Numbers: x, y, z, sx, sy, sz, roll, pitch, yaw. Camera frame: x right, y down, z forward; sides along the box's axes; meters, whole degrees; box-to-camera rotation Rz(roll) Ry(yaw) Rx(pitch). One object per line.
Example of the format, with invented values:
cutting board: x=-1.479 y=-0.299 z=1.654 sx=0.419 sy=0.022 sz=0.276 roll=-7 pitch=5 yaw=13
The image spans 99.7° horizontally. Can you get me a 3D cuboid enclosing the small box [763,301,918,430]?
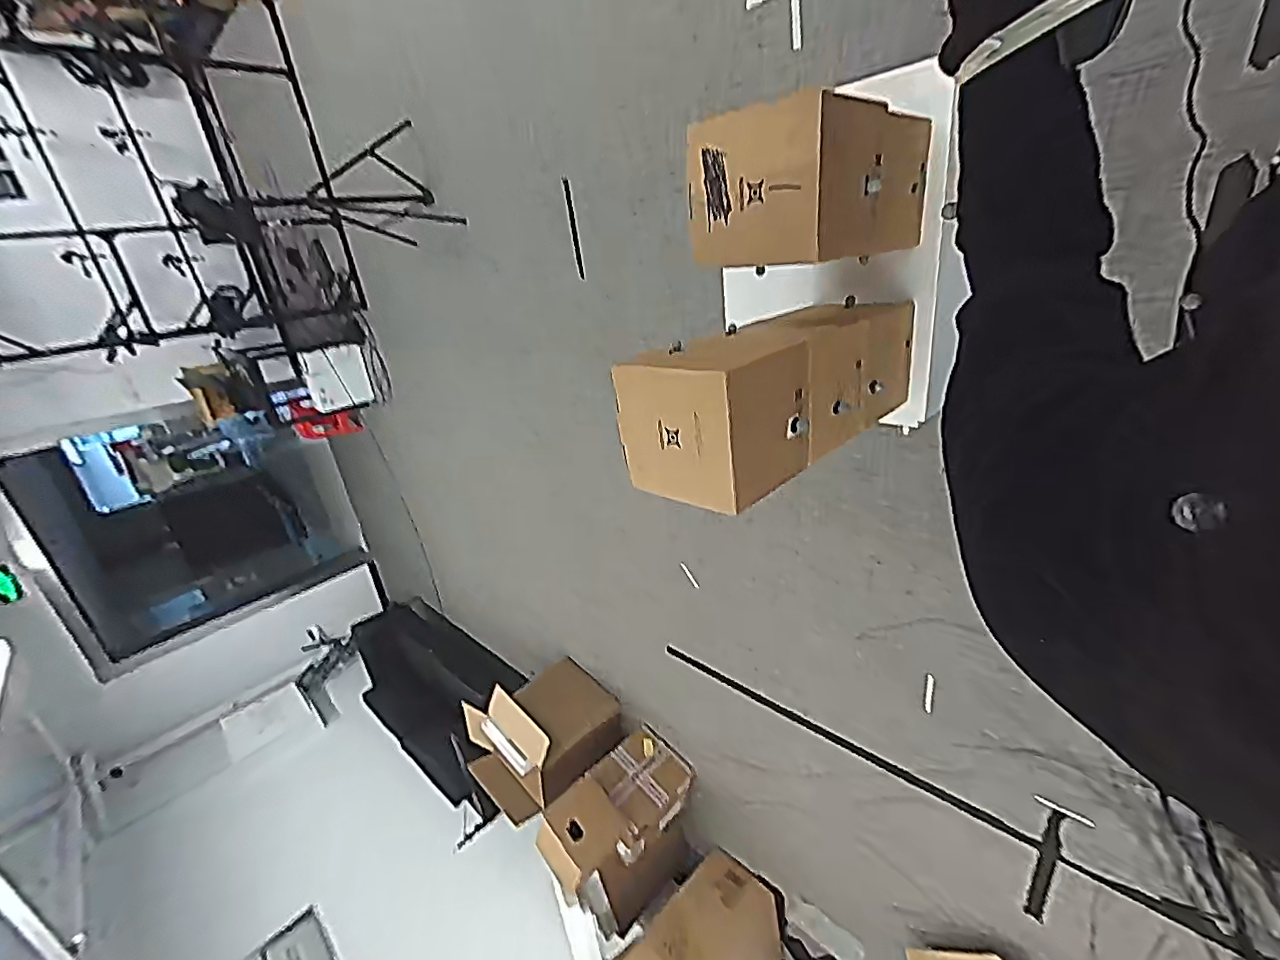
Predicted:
small box: x=0.320 y=-0.193 z=0.876 sx=0.179 sy=0.176 sz=0.168 roll=17 pitch=122 yaw=44

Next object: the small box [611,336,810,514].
small box: x=0.091 y=-0.079 z=0.673 sx=0.179 sy=0.176 sz=0.168 roll=14 pitch=121 yaw=43

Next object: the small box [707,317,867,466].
small box: x=0.207 y=-0.135 z=0.773 sx=0.179 sy=0.176 sz=0.168 roll=15 pitch=121 yaw=44

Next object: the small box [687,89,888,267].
small box: x=0.180 y=-0.360 z=0.670 sx=0.179 sy=0.176 sz=0.168 roll=17 pitch=123 yaw=41
